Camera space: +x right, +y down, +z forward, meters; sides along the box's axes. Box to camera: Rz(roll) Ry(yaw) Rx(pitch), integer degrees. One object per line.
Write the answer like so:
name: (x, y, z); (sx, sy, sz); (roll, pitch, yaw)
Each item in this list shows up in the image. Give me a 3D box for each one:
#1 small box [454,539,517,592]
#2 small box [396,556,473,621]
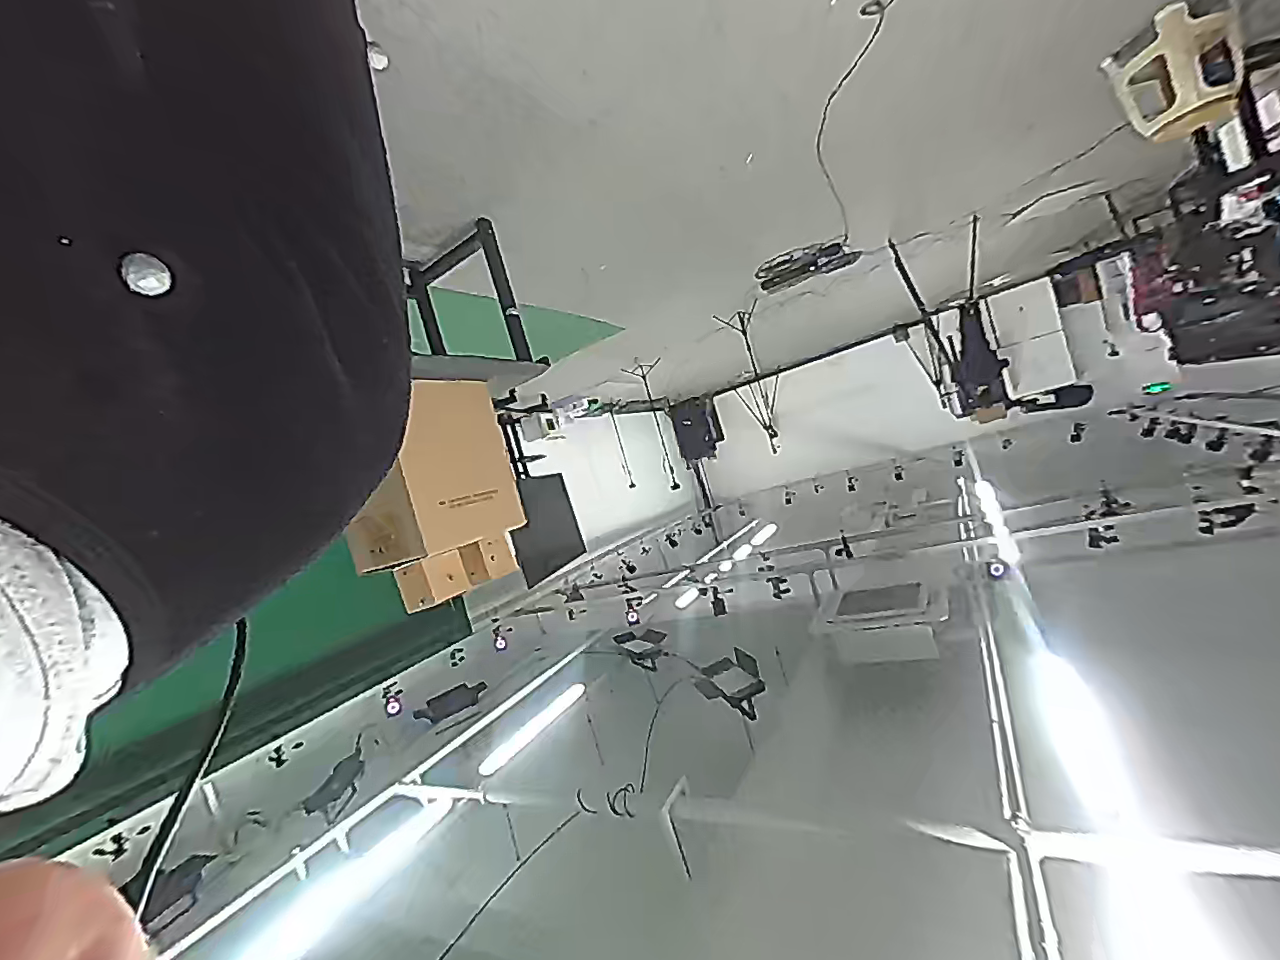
small box: (-0.647, 0.351, 2.233); (0.179, 0.176, 0.168); (-22, 178, 24)
small box: (-0.763, 0.396, 2.006); (0.168, 0.176, 0.179); (-23, 180, 28)
